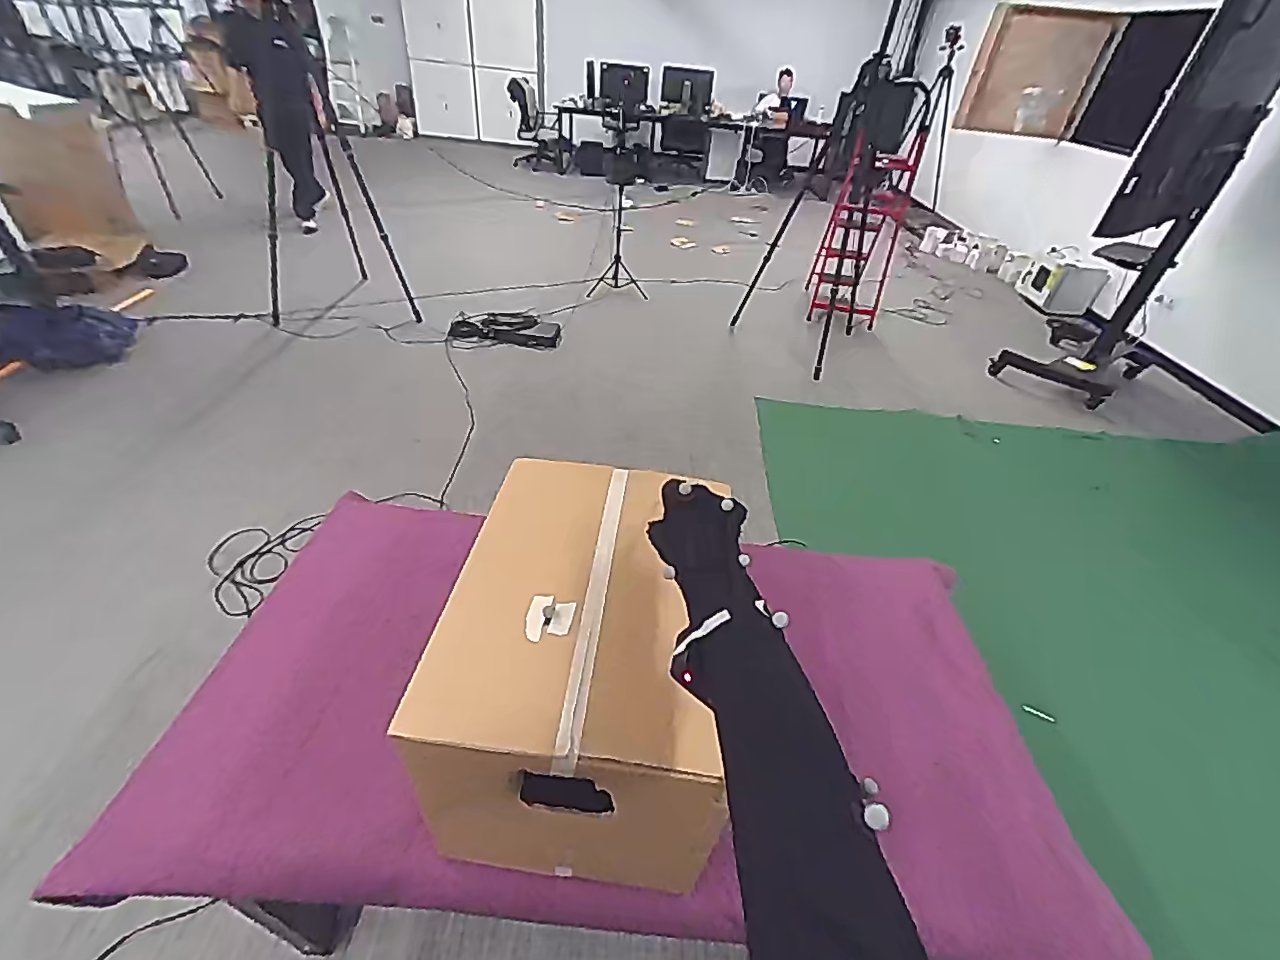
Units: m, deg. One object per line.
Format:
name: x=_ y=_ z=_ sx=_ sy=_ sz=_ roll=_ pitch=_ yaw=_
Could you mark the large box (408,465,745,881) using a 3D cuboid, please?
large box: x=-0.057 y=0.237 z=0.724 sx=0.320 sy=0.320 sz=0.408 roll=8 pitch=39 yaw=1
